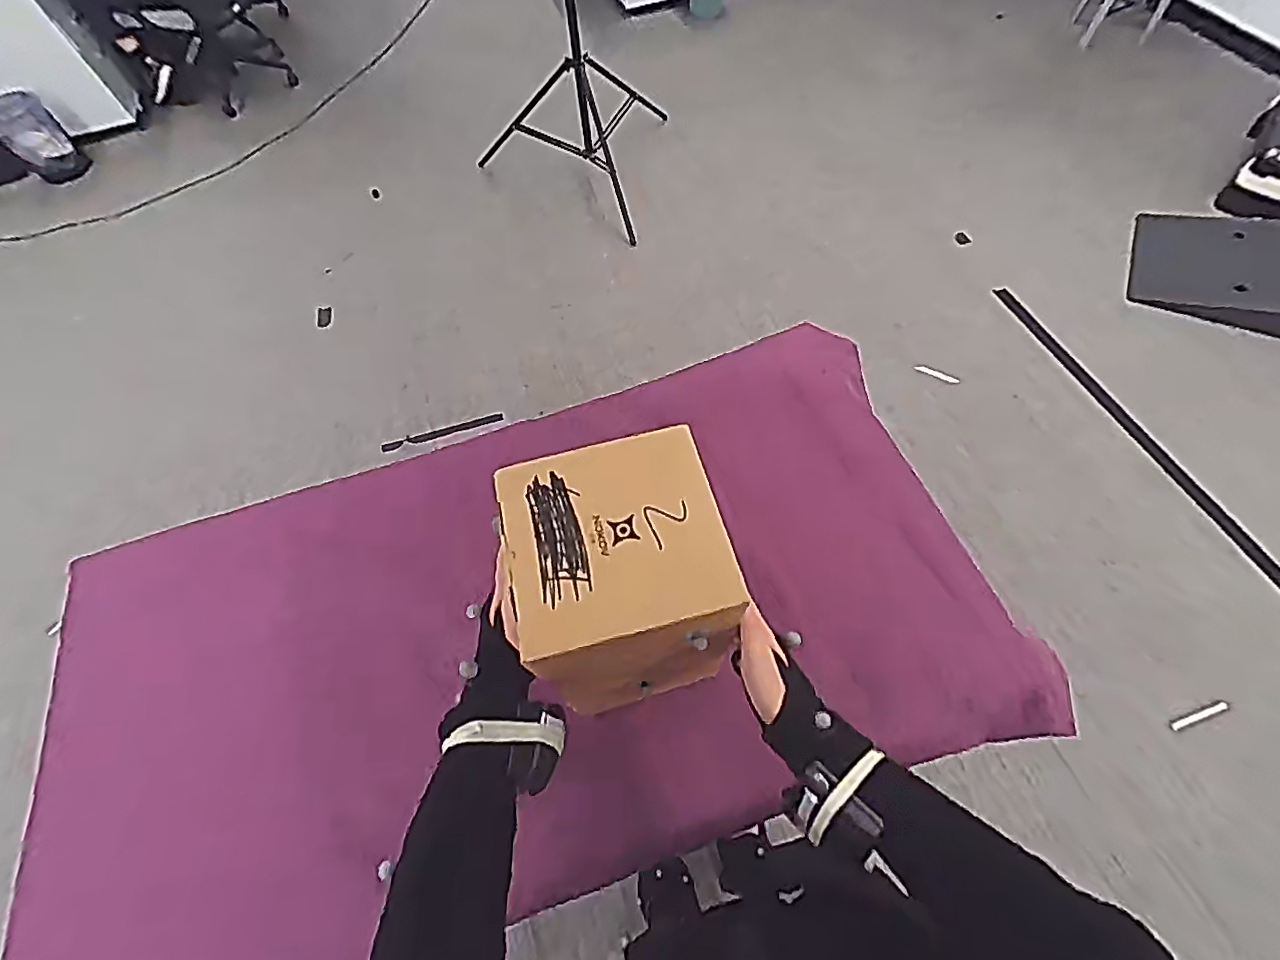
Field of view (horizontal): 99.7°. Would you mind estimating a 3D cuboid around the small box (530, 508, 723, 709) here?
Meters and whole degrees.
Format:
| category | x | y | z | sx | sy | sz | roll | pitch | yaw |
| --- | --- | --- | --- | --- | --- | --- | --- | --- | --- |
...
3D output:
| category | x | y | z | sx | sy | sz | roll | pitch | yaw |
| --- | --- | --- | --- | --- | --- | --- | --- | --- | --- |
| small box | -0.014 | 0.160 | 0.643 | 0.179 | 0.176 | 0.168 | -16 | 63 | -6 |
